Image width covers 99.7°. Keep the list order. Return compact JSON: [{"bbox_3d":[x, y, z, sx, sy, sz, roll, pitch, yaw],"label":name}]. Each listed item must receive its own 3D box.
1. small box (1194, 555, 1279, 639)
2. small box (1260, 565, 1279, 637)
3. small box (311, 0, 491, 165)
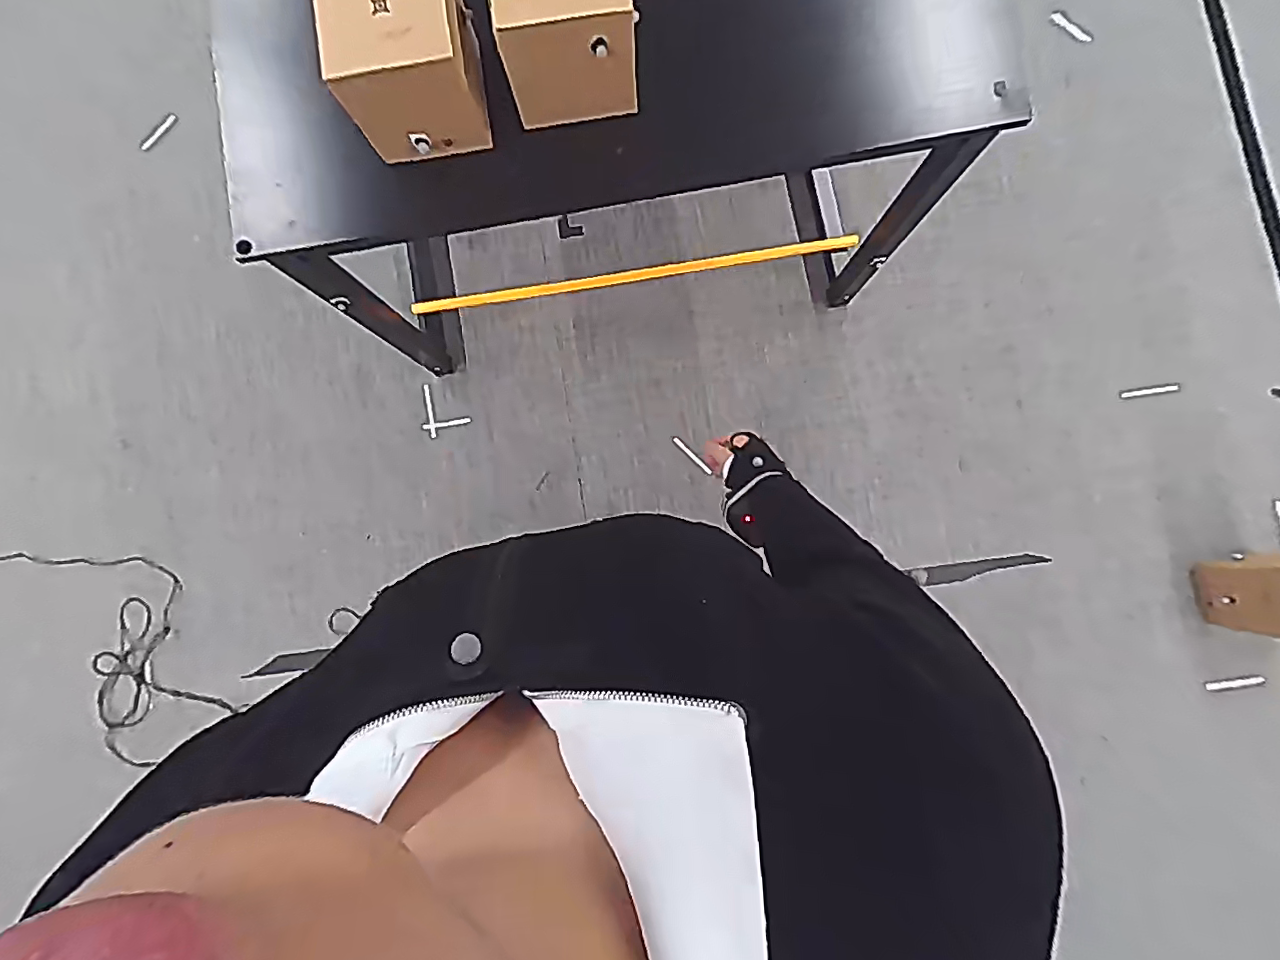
[{"bbox_3d":[1.569,0.290,1.368,0.179,0.176,0.168,-12,86,1],"label":"small box"},{"bbox_3d":[1.561,0.272,1.203,0.168,0.176,0.179,-11,87,0],"label":"small box"},{"bbox_3d":[-0.317,-0.576,0.739,0.168,0.176,0.179,-10,86,1],"label":"small box"}]
